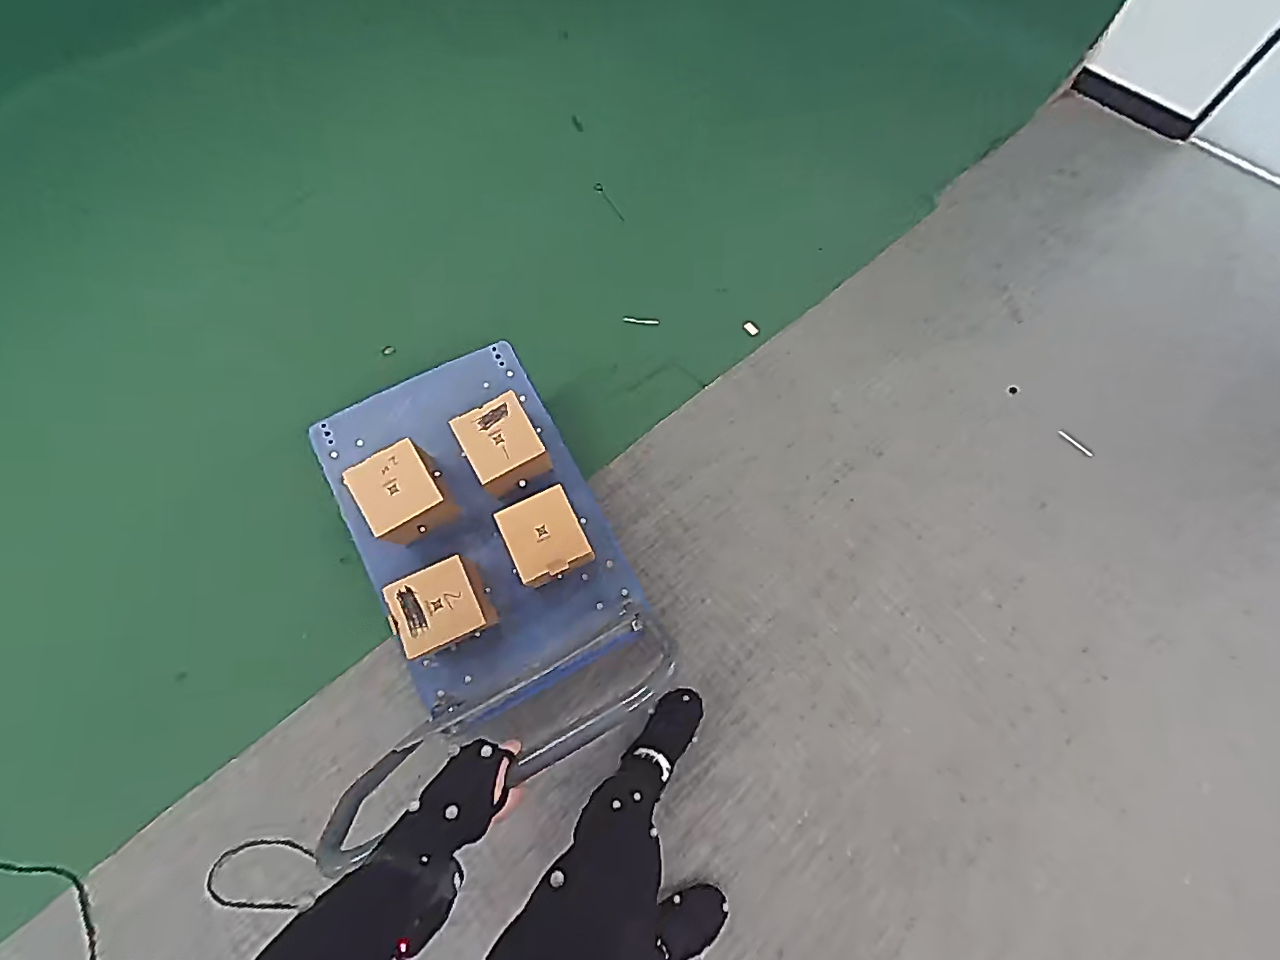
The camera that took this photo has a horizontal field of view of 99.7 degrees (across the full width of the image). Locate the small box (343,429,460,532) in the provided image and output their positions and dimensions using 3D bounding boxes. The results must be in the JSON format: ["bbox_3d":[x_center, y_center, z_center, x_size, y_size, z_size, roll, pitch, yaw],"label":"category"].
[{"bbox_3d":[-0.553,0.011,1.281,0.168,0.176,0.179,-31,81,-10],"label":"small box"}]

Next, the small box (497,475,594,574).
[{"bbox_3d":[-0.218,0.112,1.280,0.168,0.176,0.179,-26,81,-8],"label":"small box"}]

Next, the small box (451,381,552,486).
[{"bbox_3d":[-0.329,-0.107,1.318,0.168,0.176,0.179,-29,82,-8],"label":"small box"}]
